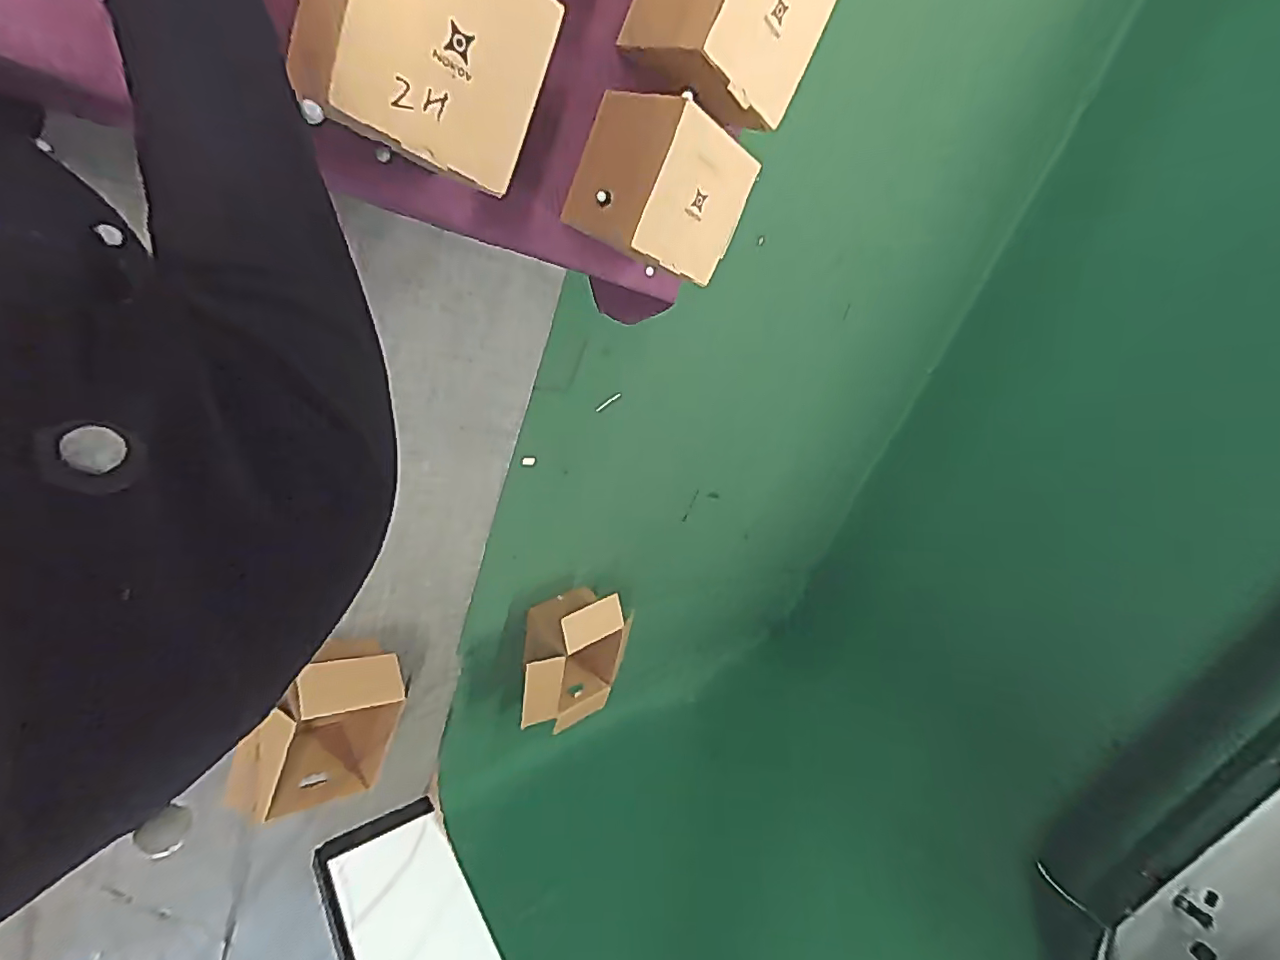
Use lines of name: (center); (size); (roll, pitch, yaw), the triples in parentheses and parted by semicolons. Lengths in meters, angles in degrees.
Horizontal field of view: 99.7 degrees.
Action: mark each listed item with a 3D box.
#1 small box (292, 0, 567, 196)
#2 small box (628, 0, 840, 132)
small box: (-0.204, -0.405, 0.509); (0.168, 0.176, 0.179); (7, 115, -47)
small box: (0.110, -0.582, 0.682); (0.168, 0.176, 0.179); (8, 115, -49)
